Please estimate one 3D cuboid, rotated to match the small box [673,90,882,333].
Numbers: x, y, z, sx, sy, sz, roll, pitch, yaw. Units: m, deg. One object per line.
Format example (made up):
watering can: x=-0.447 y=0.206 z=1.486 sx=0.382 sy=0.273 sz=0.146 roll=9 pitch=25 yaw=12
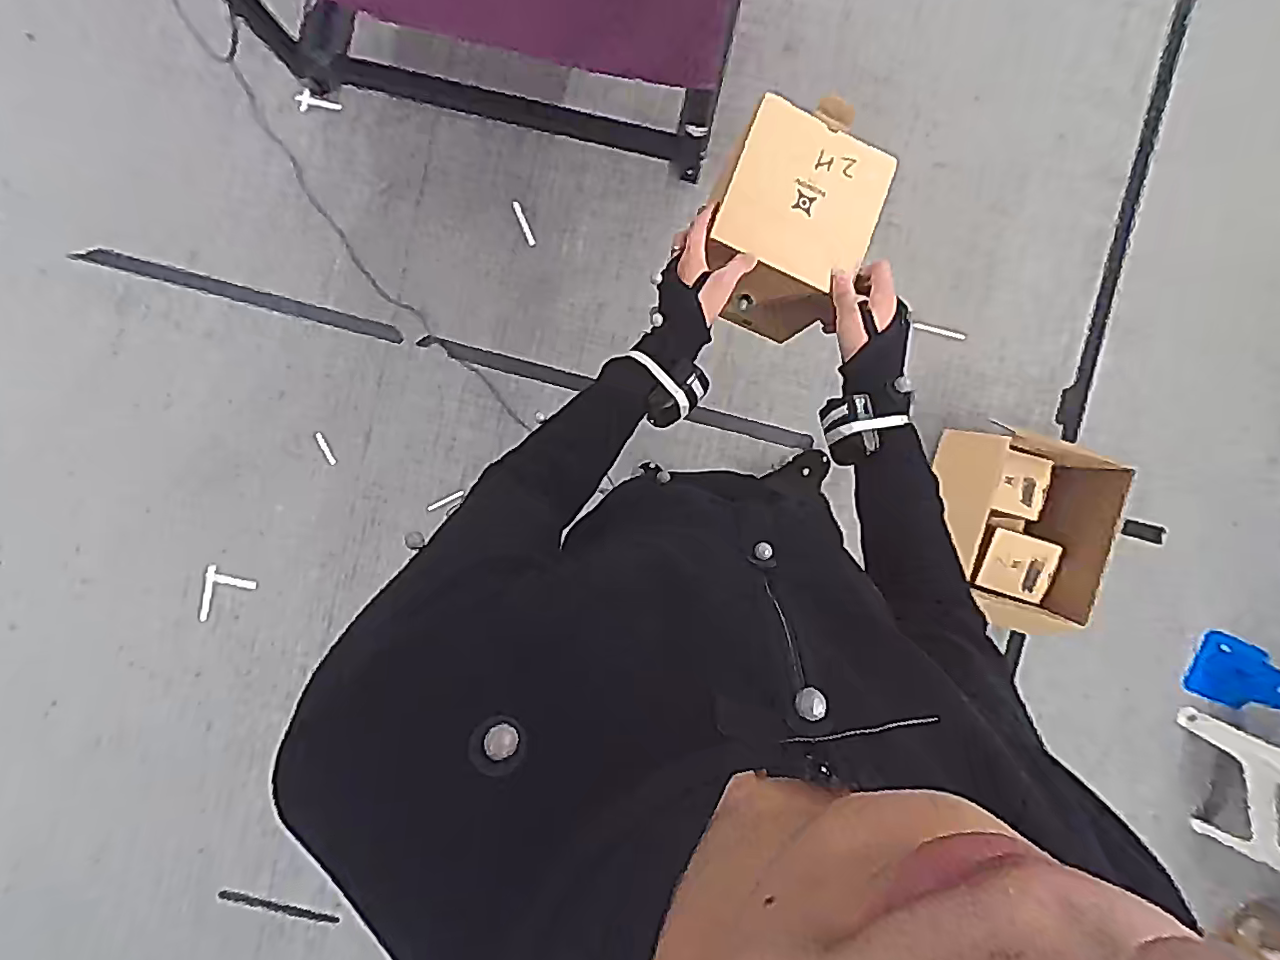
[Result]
small box: x=0.150 y=-0.302 z=0.653 sx=0.168 sy=0.176 sz=0.179 roll=20 pitch=84 yaw=-9
